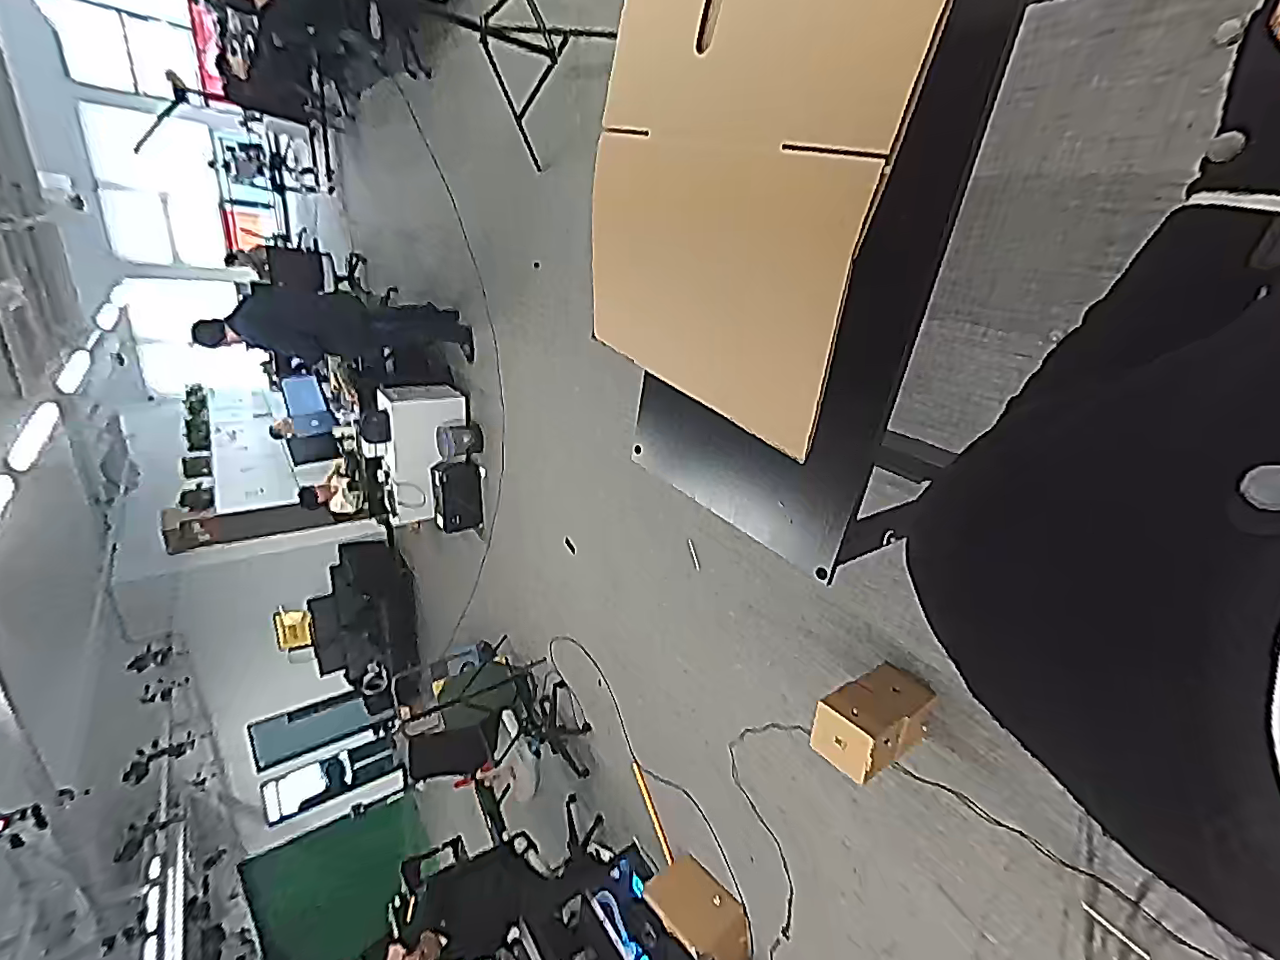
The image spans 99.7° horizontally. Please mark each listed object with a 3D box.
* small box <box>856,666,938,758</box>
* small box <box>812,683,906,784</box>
[{"bbox_3d":[0.758,0.687,1.631,0.179,0.176,0.168,29,121,46],"label":"small box"},{"bbox_3d":[0.624,0.710,1.542,0.179,0.176,0.168,26,118,50],"label":"small box"}]
